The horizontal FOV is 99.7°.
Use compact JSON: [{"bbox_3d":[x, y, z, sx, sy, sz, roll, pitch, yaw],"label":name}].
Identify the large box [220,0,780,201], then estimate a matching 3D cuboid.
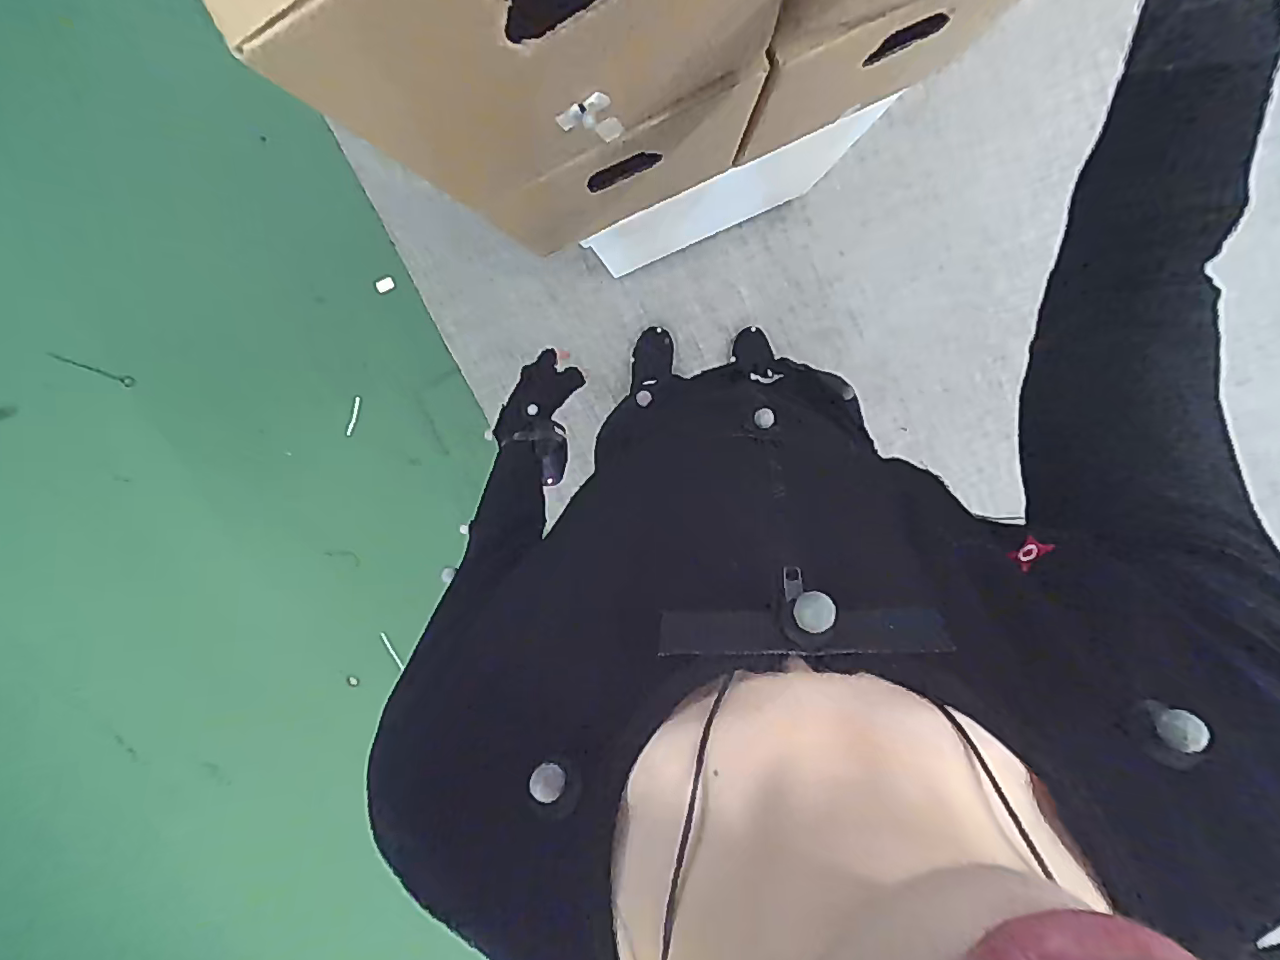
[{"bbox_3d":[-0.115,-0.467,0.324,0.320,0.320,0.408,-24,101,9],"label":"large box"}]
